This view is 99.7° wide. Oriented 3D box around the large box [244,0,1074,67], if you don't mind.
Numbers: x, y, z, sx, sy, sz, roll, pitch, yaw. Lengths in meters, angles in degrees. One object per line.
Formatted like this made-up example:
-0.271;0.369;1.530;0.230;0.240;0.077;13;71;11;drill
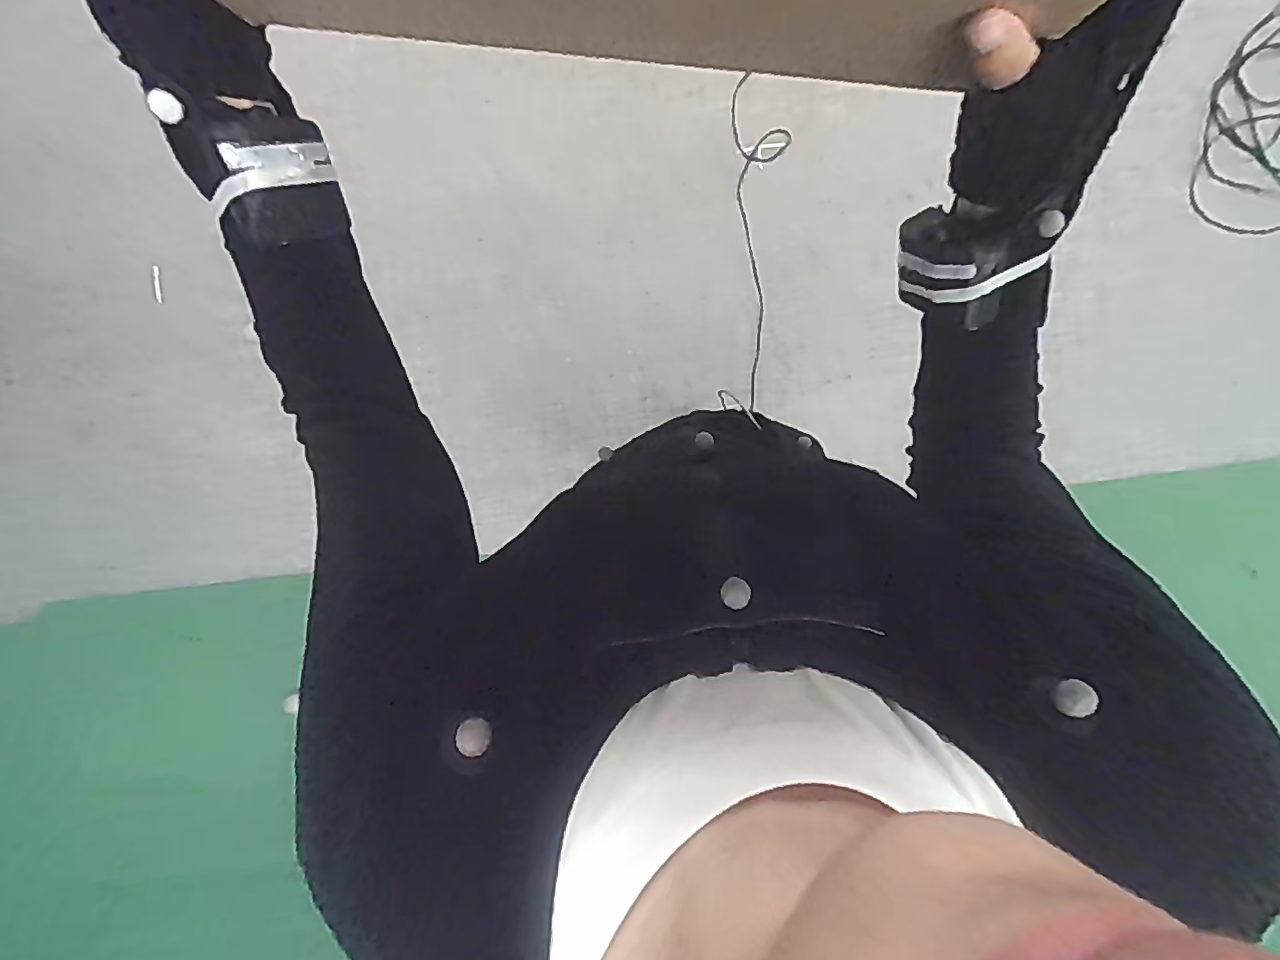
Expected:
-0.010;-0.336;0.103;0.408;0.320;0.320;7;107;3;large box
